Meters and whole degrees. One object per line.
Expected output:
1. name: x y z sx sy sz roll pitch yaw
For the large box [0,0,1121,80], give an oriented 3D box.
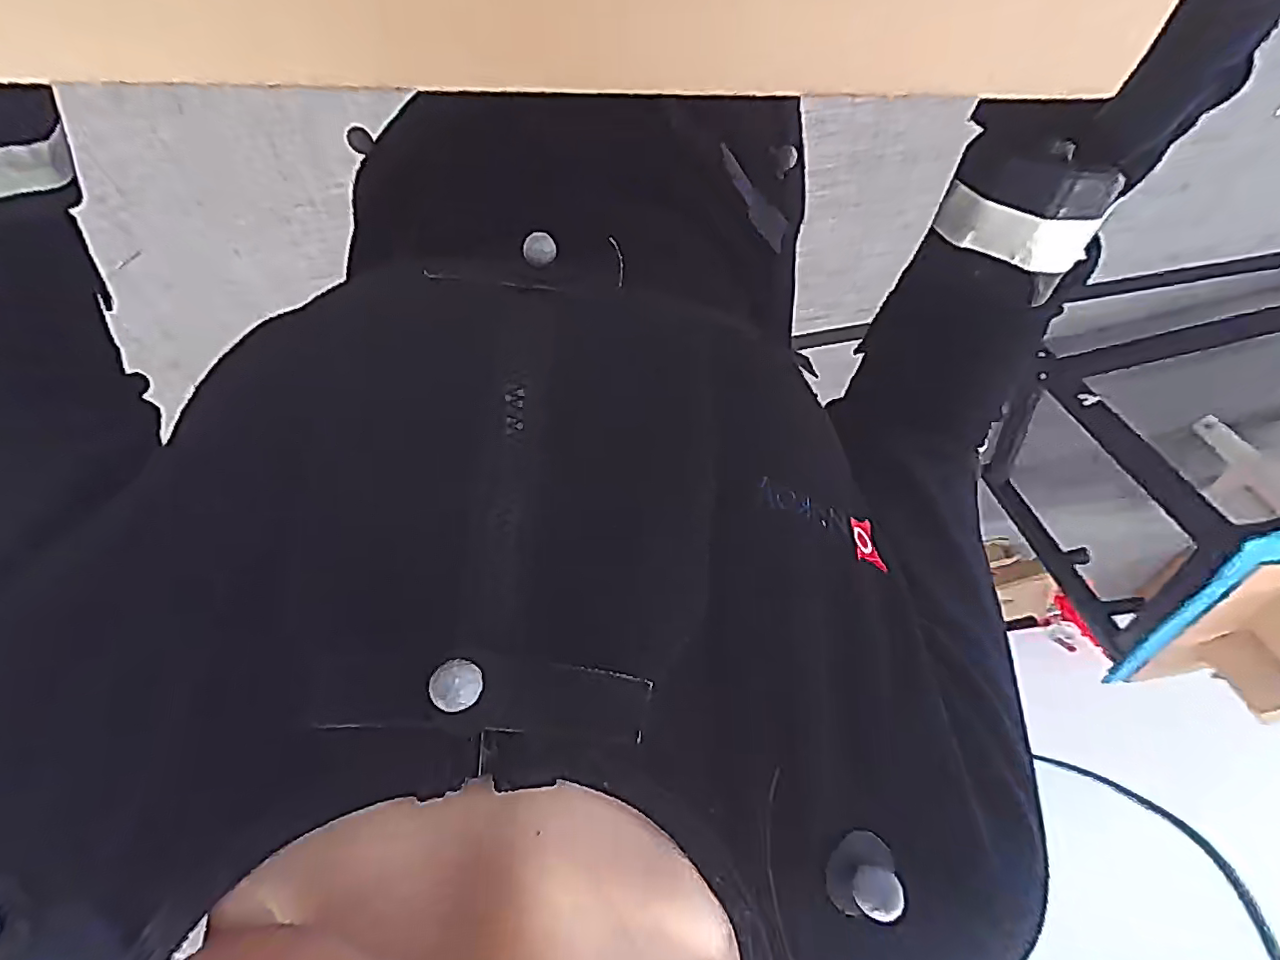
1. large box: -0.040 -0.350 0.150 0.408 0.320 0.320 -2 143 -4
